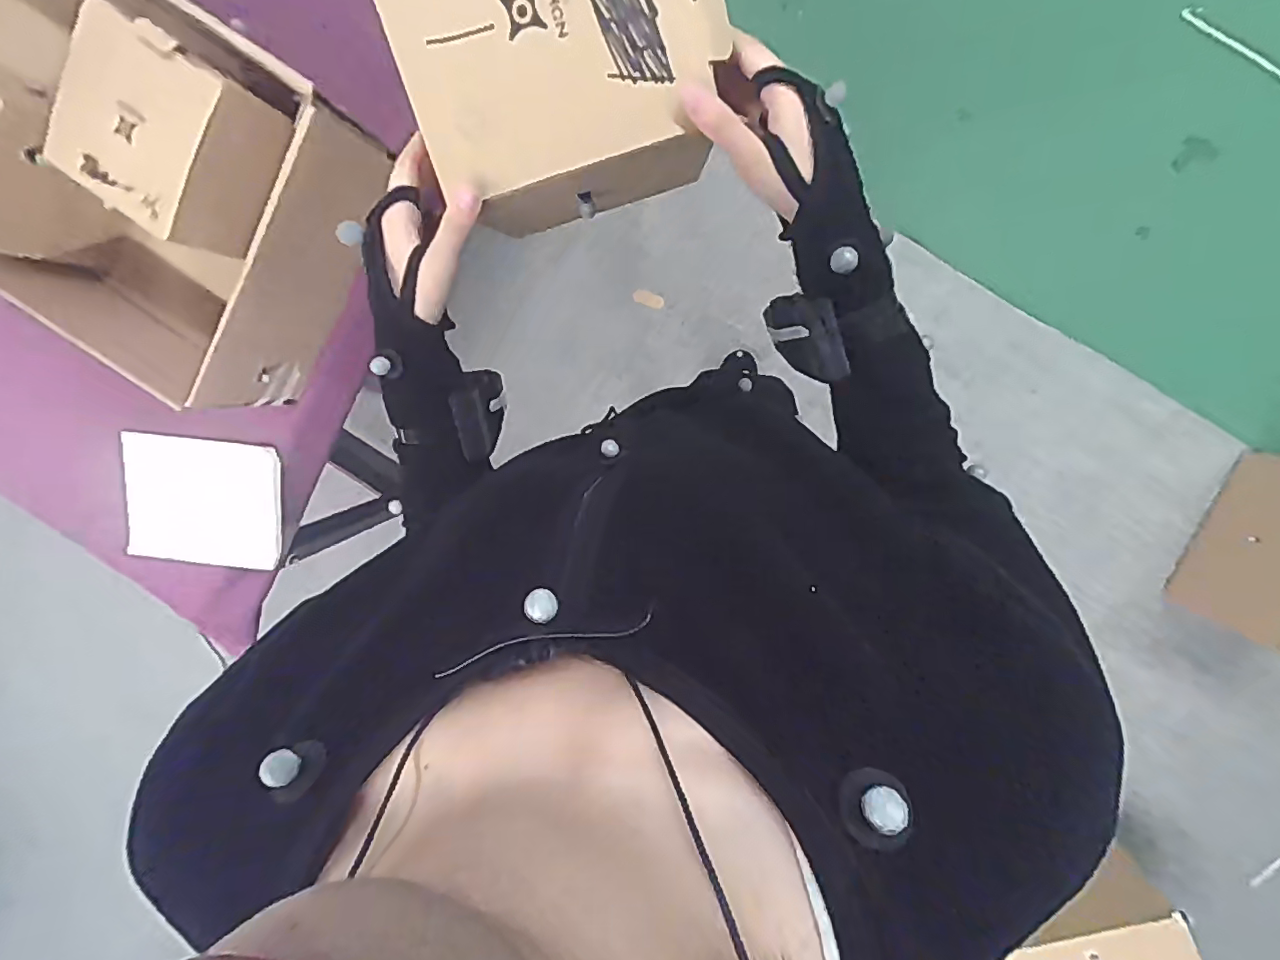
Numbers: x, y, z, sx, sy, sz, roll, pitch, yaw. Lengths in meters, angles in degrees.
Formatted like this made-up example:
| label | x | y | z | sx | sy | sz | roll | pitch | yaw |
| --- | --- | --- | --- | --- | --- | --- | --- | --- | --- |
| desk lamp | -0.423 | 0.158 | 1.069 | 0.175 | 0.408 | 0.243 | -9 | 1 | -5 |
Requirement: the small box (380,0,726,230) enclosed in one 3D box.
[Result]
| label | x | y | z | sx | sy | sz | roll | pitch | yaw |
| --- | --- | --- | --- | --- | --- | --- | --- | --- | --- |
| small box | -0.052 | -0.289 | 0.372 | 0.179 | 0.176 | 0.168 | -15 | 107 | 7 |

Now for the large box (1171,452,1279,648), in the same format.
| label | x | y | z | sx | sy | sz | roll | pitch | yaw |
| --- | --- | --- | --- | --- | --- | --- | --- | --- | --- |
| large box | 1.533 | 0.184 | 1.196 | 0.320 | 0.320 | 0.408 | 18 | 101 | 3 |
